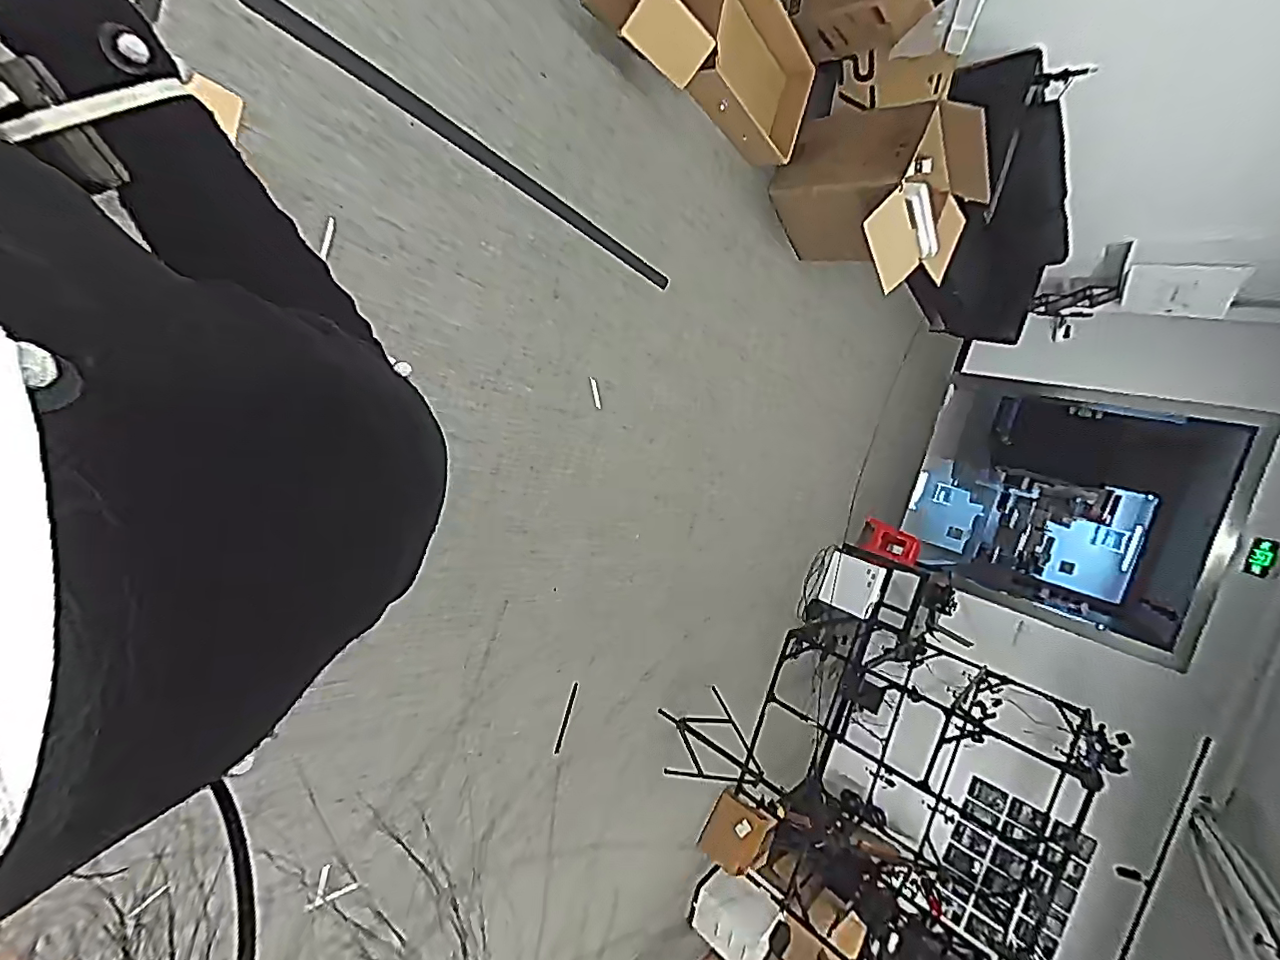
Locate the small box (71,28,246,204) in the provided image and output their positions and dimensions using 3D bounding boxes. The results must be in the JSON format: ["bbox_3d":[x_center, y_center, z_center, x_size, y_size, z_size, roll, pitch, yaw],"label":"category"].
[{"bbox_3d":[-0.784,-0.568,0.878,0.179,0.176,0.168,11,98,-52],"label":"small box"}]
